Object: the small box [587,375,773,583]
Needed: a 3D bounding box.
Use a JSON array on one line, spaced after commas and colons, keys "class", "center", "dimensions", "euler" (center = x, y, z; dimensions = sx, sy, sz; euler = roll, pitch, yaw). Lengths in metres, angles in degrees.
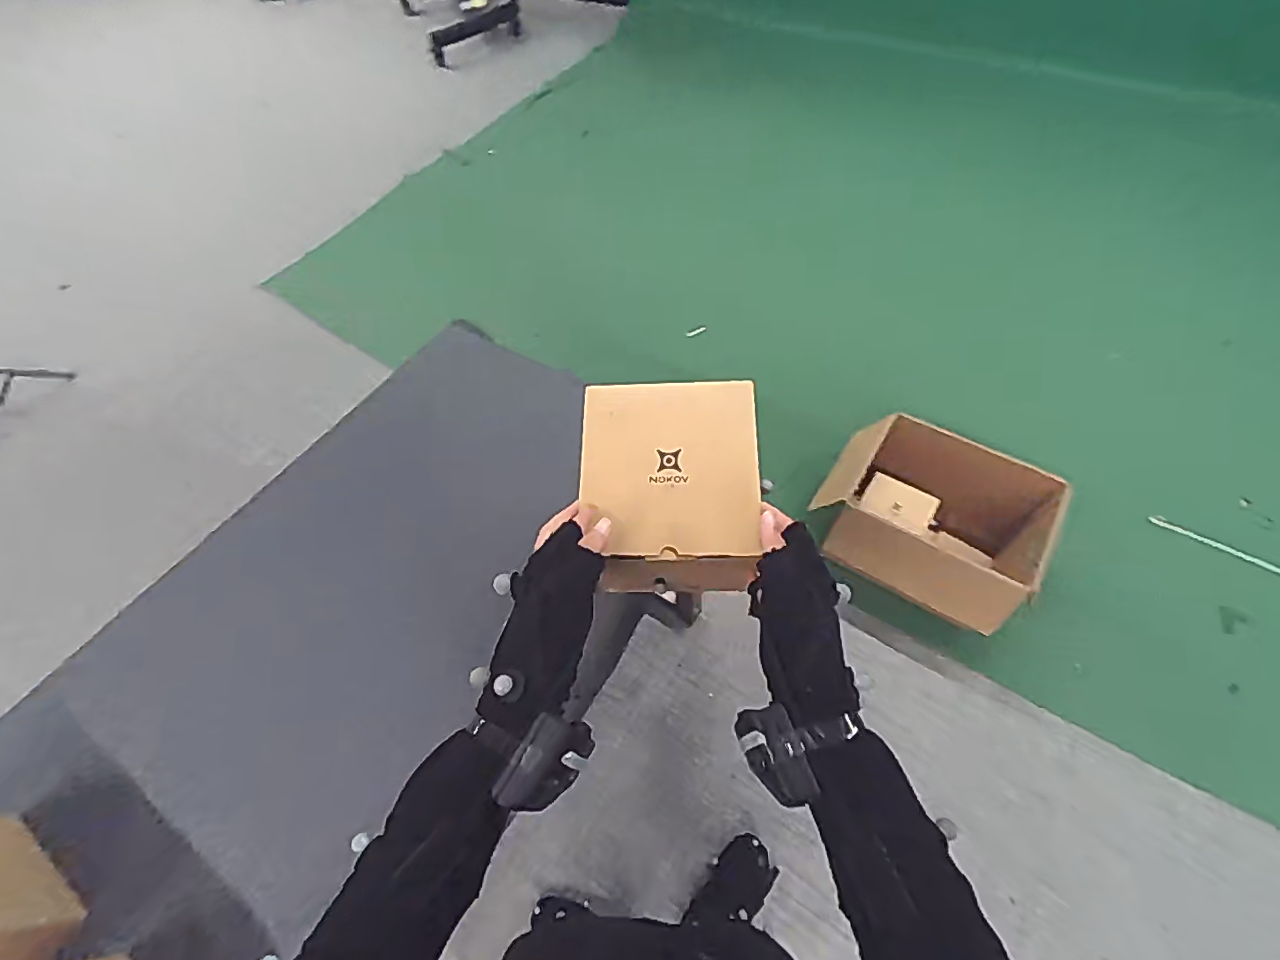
[{"class": "small box", "center": [0.042, 0.007, 0.573], "dimensions": [0.168, 0.176, 0.179], "euler": [-1, 71, 5]}]
